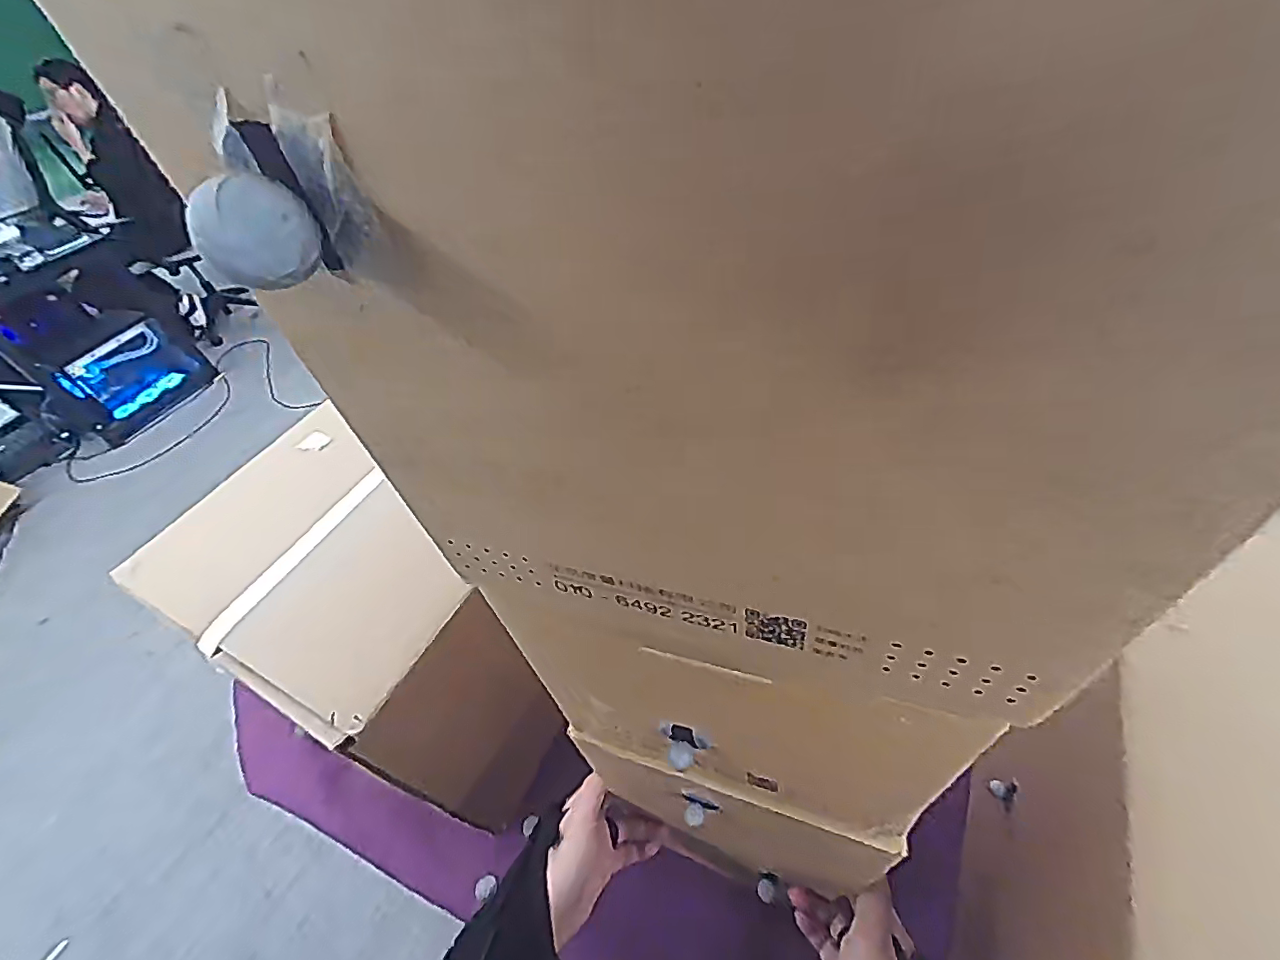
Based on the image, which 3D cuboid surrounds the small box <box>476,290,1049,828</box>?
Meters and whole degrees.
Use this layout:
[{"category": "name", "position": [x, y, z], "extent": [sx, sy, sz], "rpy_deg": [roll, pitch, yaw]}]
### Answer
[{"category": "small box", "position": [0.058, 0.032, 0.260], "extent": [0.168, 0.176, 0.179], "rpy_deg": [9, 51, 19]}]
